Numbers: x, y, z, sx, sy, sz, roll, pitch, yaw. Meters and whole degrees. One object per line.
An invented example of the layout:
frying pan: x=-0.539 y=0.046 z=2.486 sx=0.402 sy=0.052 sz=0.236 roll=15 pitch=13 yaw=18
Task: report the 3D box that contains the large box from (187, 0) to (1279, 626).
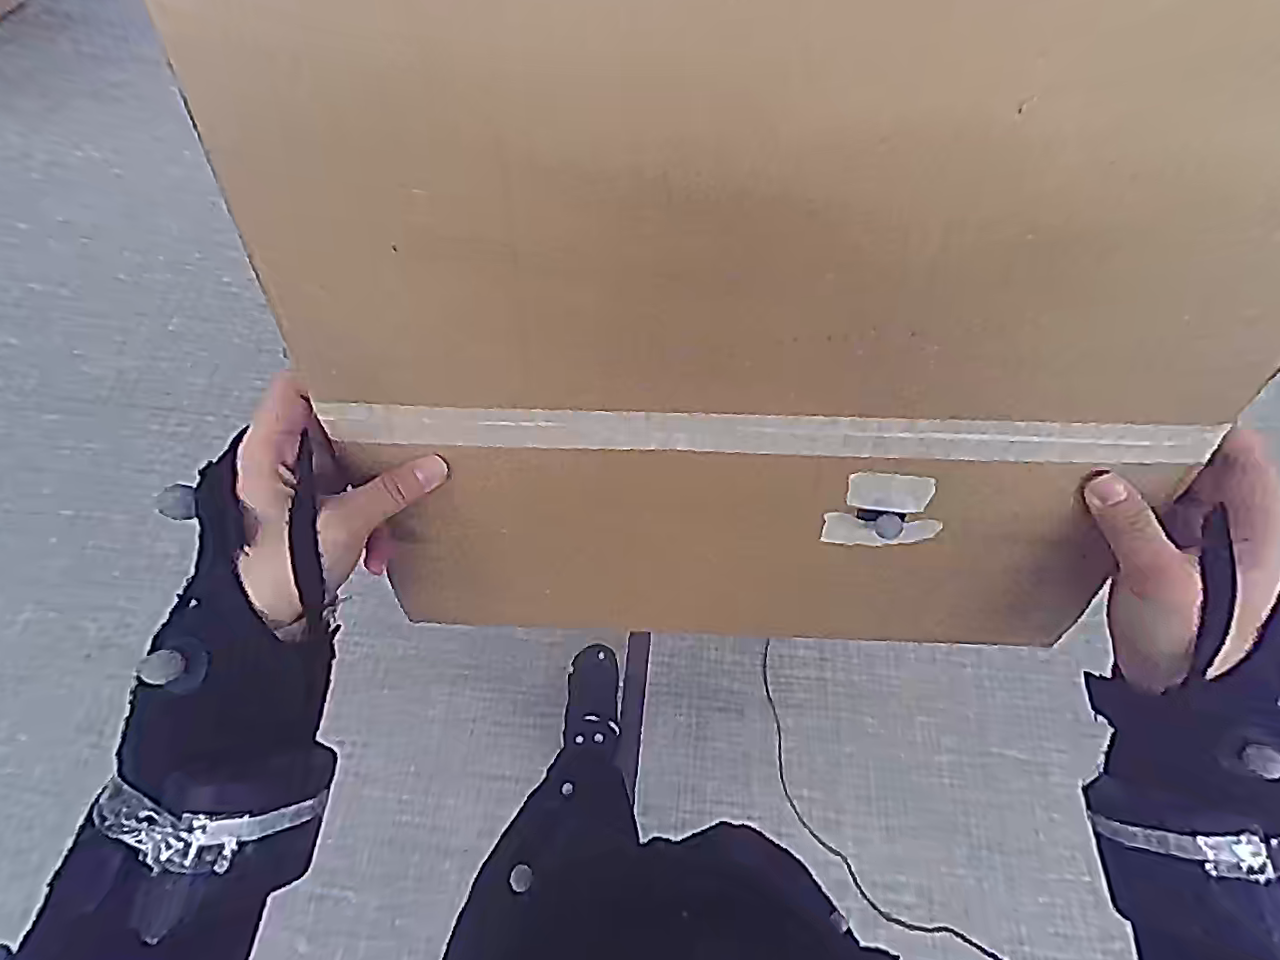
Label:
large box: x=0.053 y=-0.118 z=0.375 sx=0.408 sy=0.320 sz=0.320 roll=1 pitch=40 yaw=1
